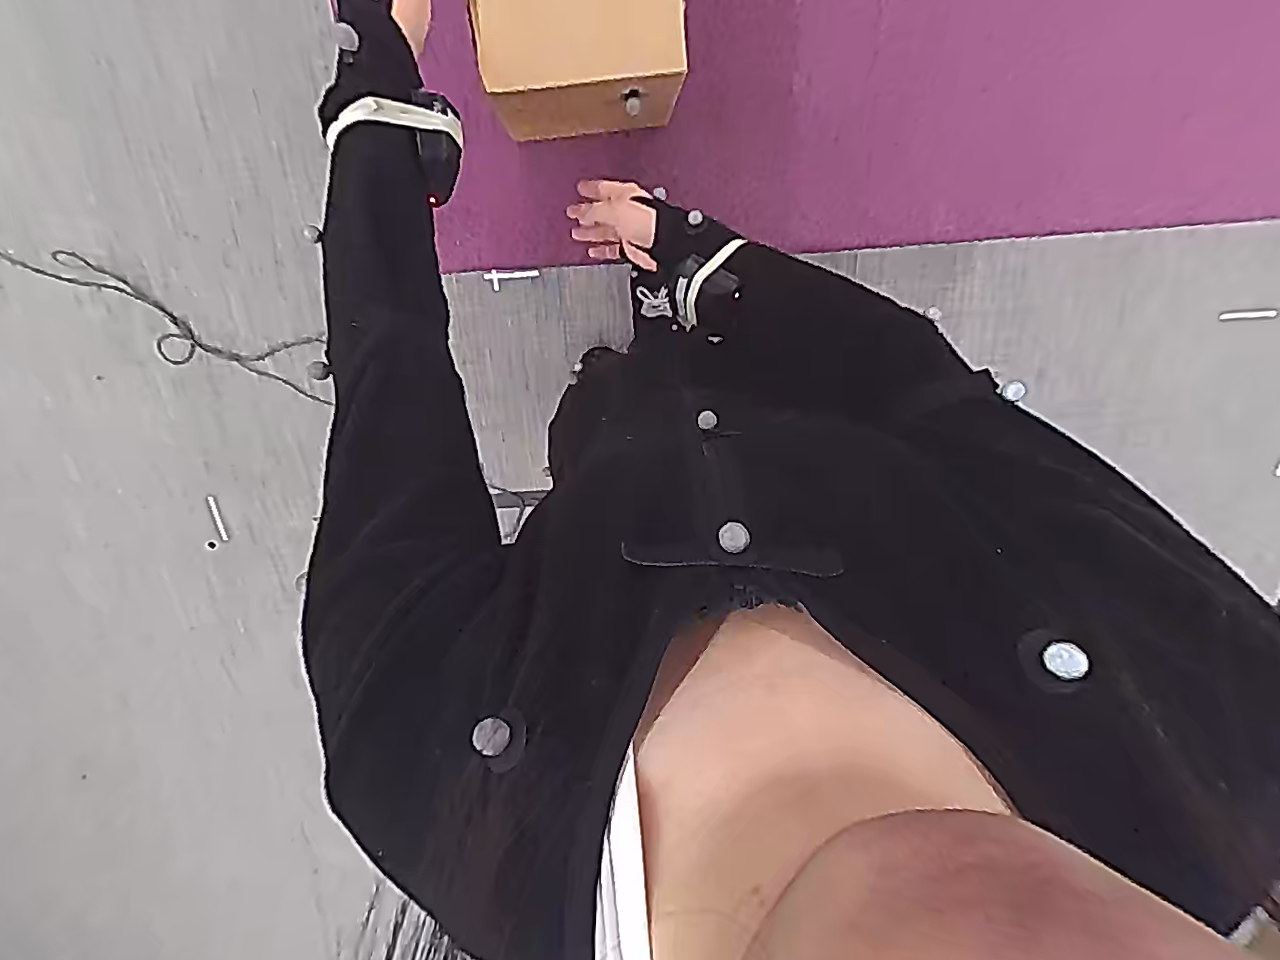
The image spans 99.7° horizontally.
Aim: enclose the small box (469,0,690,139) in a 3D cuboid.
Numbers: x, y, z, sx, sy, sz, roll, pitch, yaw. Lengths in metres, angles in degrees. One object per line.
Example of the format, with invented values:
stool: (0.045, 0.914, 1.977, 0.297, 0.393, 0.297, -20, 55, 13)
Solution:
small box: (-0.056, -0.434, 0.498, 0.179, 0.176, 0.168, -7, 110, 0)
